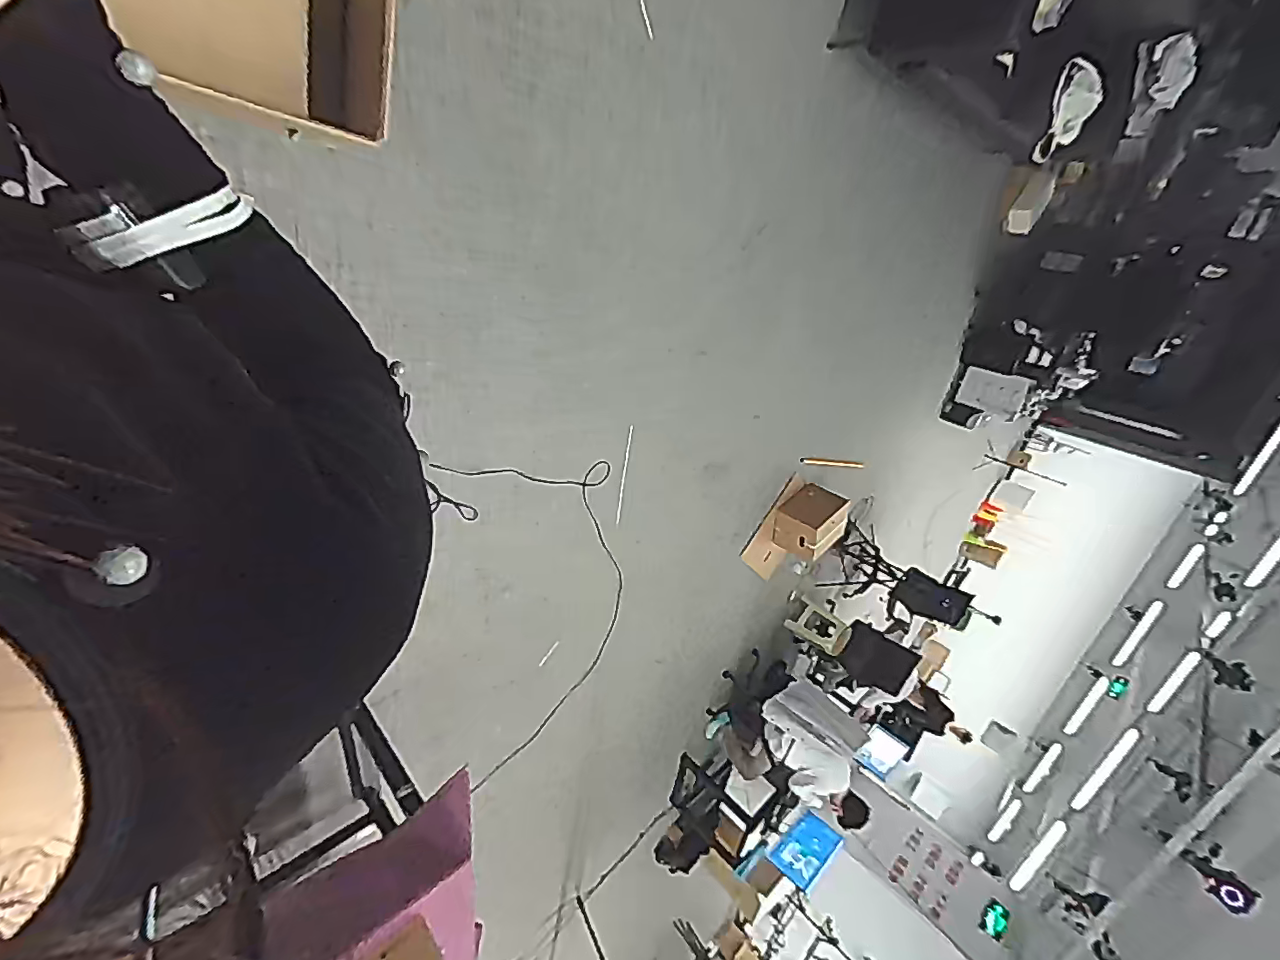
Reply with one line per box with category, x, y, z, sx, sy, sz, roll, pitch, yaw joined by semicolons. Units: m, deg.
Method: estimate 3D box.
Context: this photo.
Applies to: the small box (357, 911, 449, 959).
small box;-0.575;1.216;1.324;0.168;0.176;0.179;-20;129;-40
